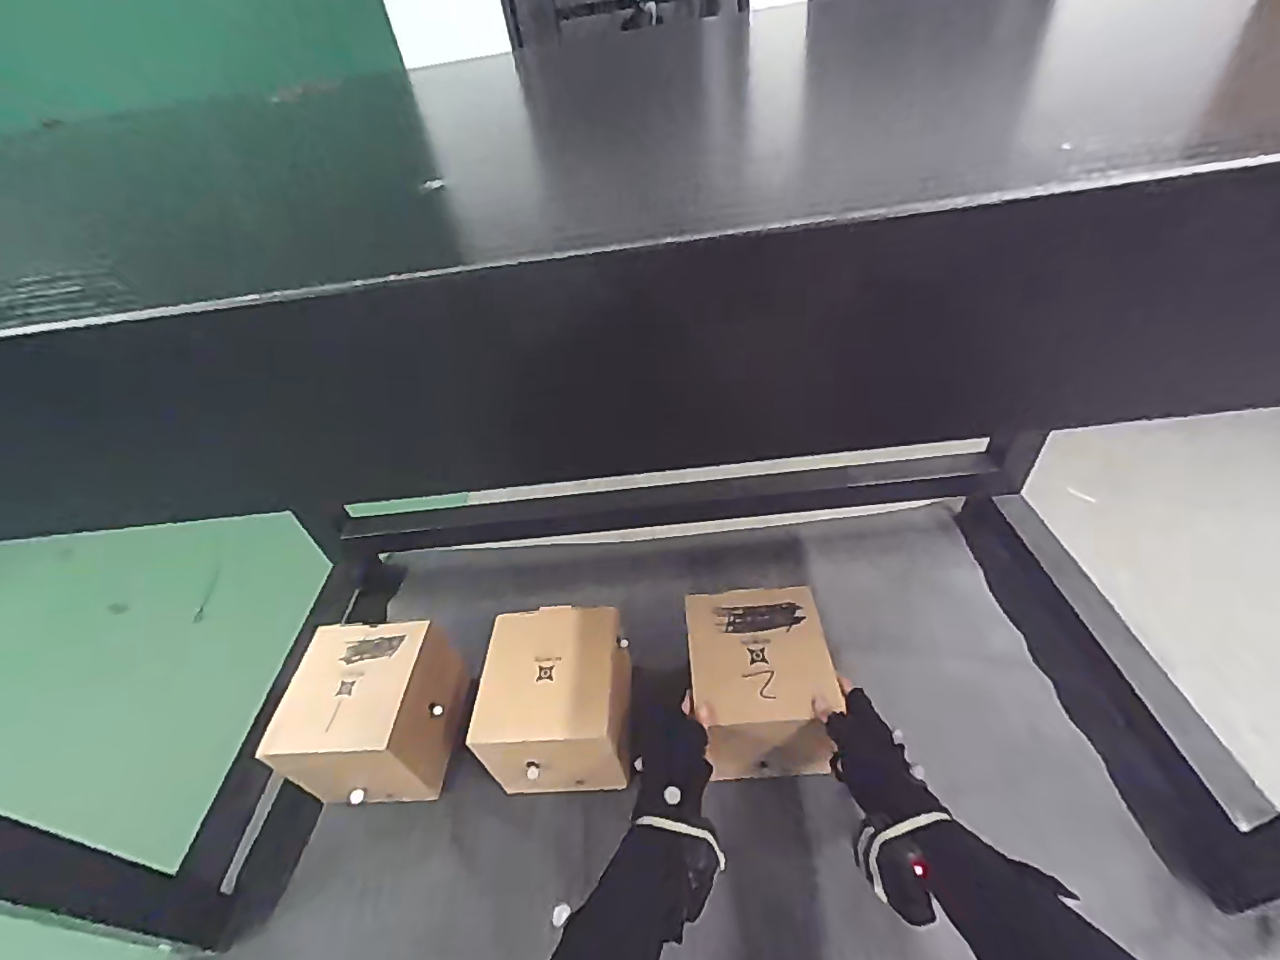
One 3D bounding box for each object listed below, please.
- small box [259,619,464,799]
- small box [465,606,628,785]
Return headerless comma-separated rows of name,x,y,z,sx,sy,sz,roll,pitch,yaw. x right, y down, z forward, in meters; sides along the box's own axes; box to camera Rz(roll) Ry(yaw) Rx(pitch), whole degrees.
small box,-0.360,0.315,0.745,0.168,0.176,0.179,-5,42,5
small box,-0.109,0.293,0.726,0.168,0.176,0.179,-5,41,5
